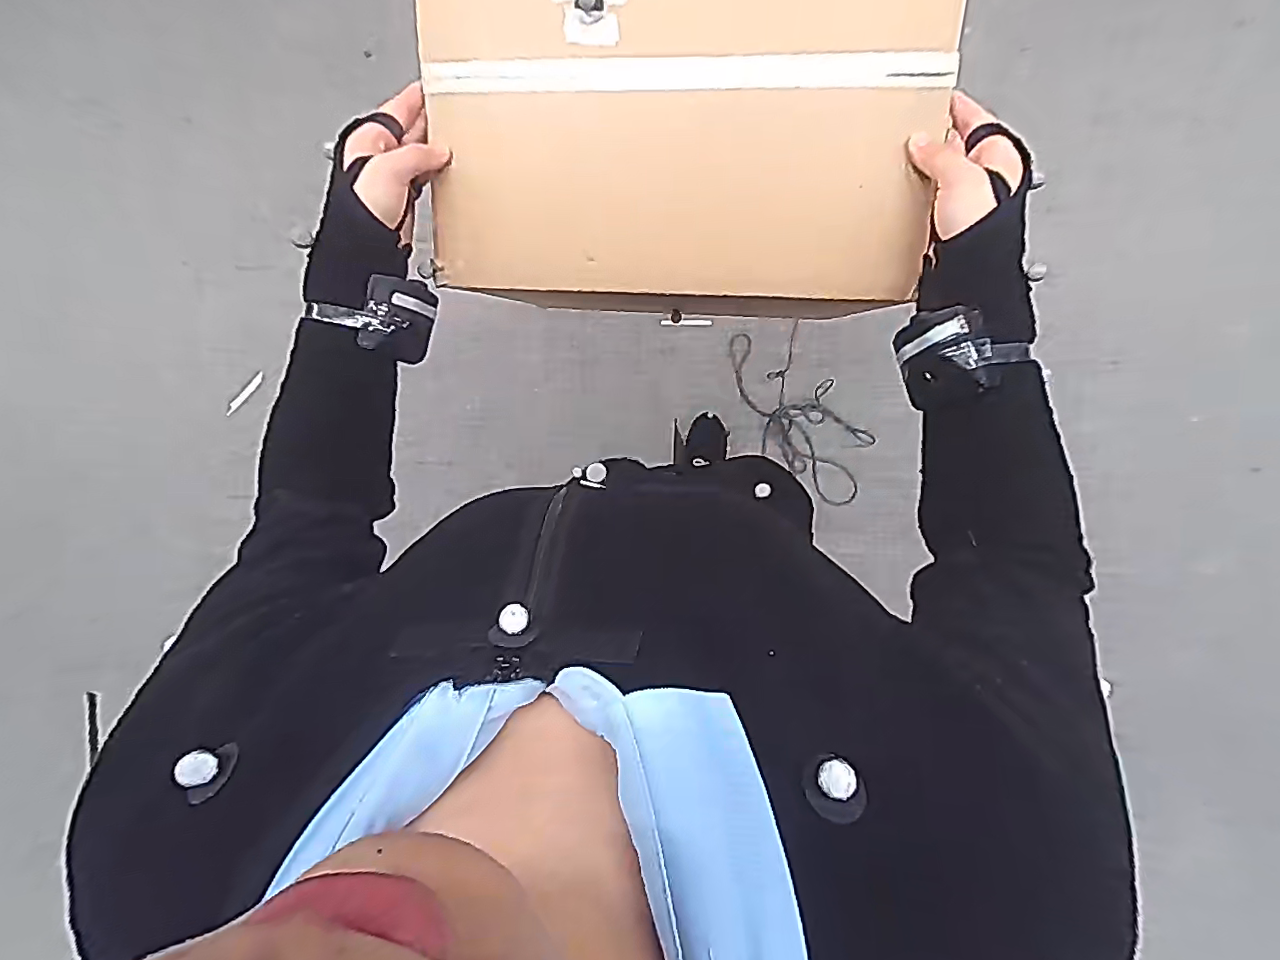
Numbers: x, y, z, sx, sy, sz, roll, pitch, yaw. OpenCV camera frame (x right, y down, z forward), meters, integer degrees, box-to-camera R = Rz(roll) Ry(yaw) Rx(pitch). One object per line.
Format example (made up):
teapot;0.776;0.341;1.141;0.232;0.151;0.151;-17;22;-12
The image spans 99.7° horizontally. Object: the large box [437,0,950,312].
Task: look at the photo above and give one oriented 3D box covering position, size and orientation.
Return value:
large box;0.050;-0.346;0.574;0.408;0.320;0.320;3;103;6
